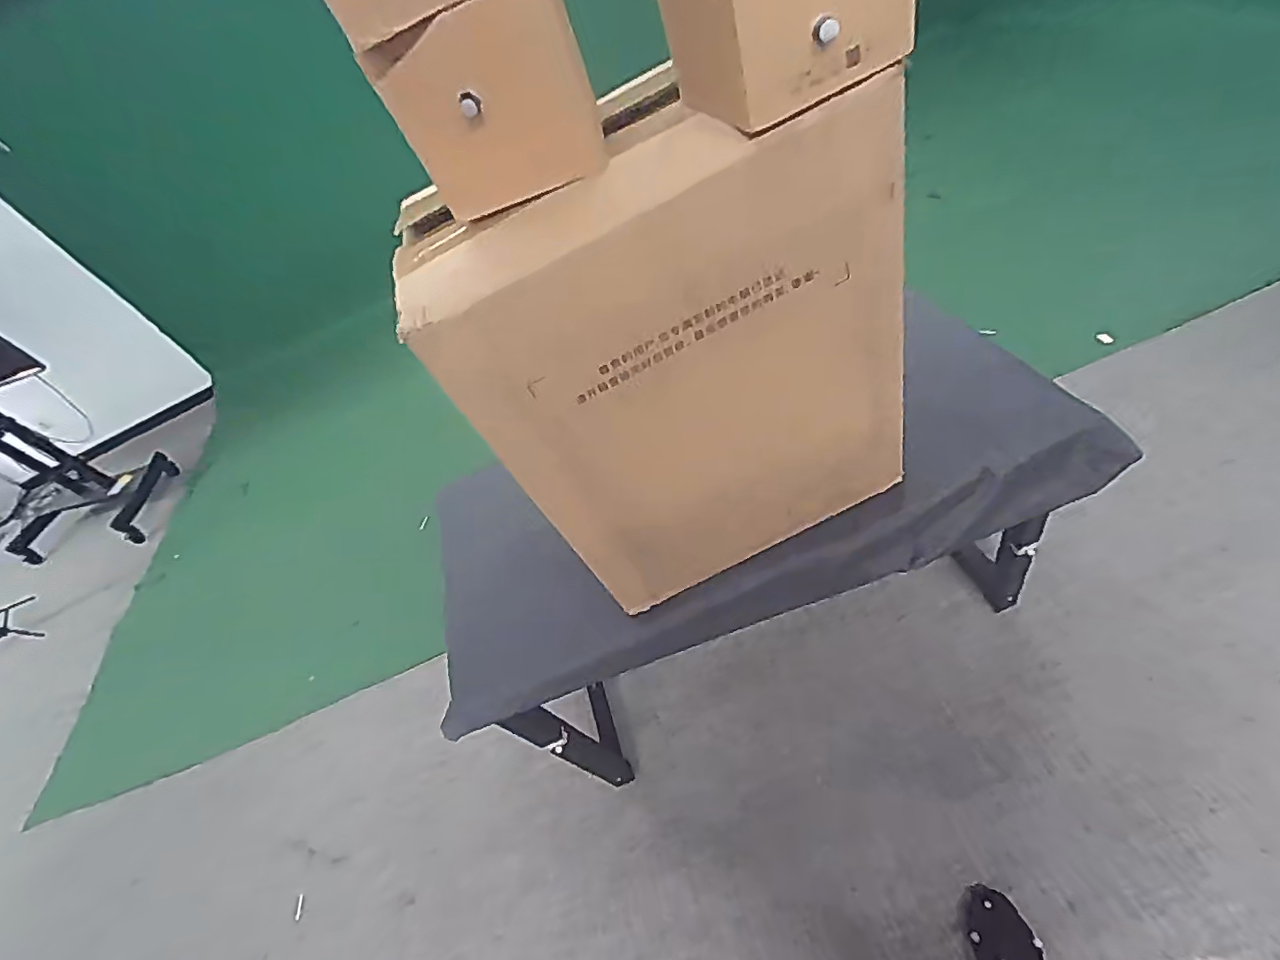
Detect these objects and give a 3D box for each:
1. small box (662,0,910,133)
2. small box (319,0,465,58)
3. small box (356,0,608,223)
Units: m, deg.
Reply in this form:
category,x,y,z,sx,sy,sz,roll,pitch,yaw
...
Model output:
category,x,y,z,sx,sy,sz,roll,pitch,yaw
small box,0.120,-0.448,0.490,0.168,0.176,0.179,-26,47,1
small box,-0.212,-0.480,0.428,0.179,0.176,0.168,-30,55,-1
small box,-0.148,-0.402,0.557,0.179,0.176,0.168,-16,56,11
